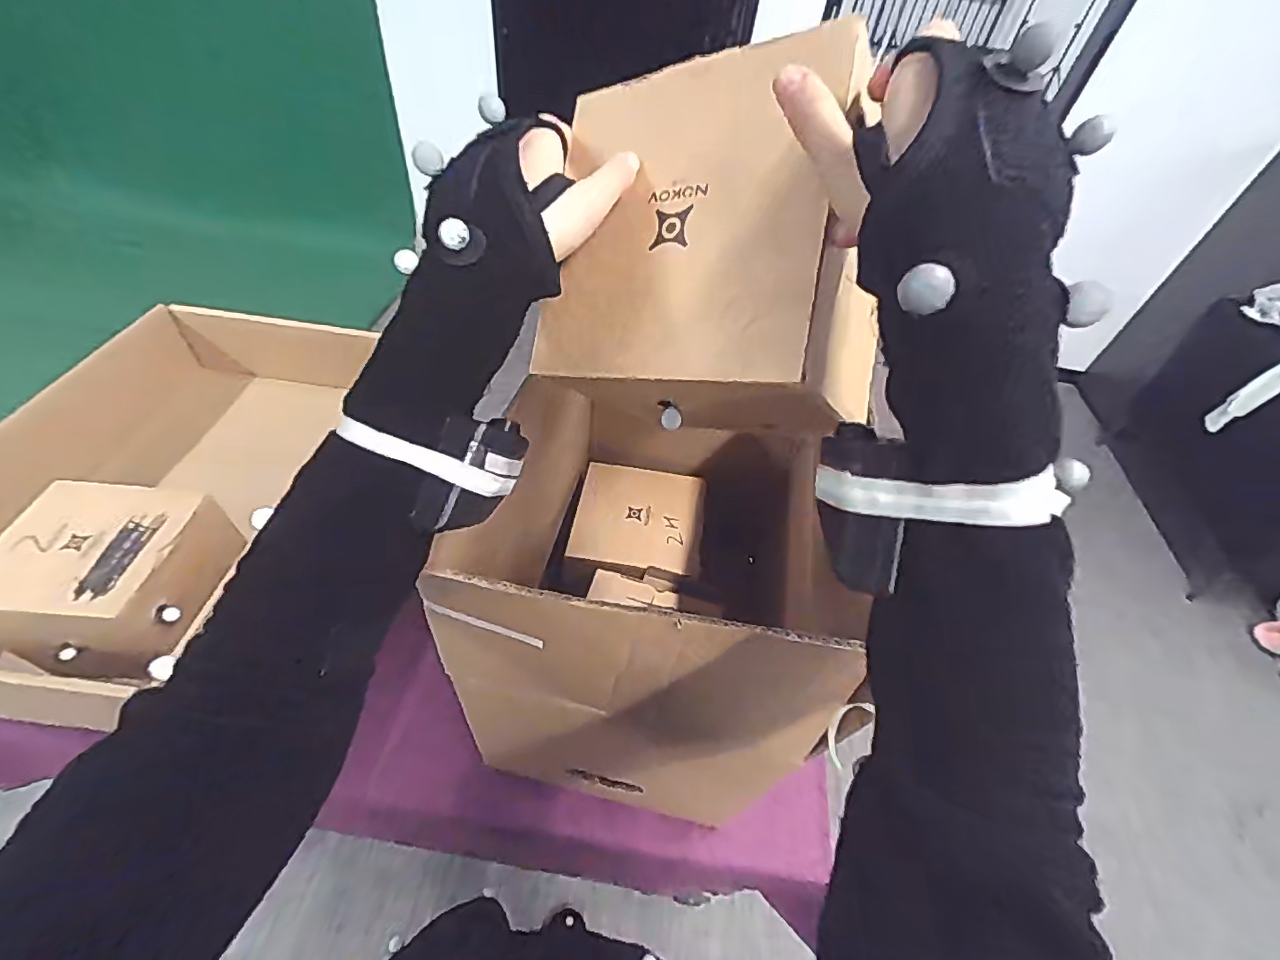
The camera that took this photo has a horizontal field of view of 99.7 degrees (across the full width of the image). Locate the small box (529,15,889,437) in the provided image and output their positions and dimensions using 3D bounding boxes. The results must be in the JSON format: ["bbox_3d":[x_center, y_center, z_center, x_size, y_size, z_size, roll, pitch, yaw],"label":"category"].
[{"bbox_3d":[0.055,-0.128,0.353,0.168,0.179,0.176,8,-2,32],"label":"small box"}]
